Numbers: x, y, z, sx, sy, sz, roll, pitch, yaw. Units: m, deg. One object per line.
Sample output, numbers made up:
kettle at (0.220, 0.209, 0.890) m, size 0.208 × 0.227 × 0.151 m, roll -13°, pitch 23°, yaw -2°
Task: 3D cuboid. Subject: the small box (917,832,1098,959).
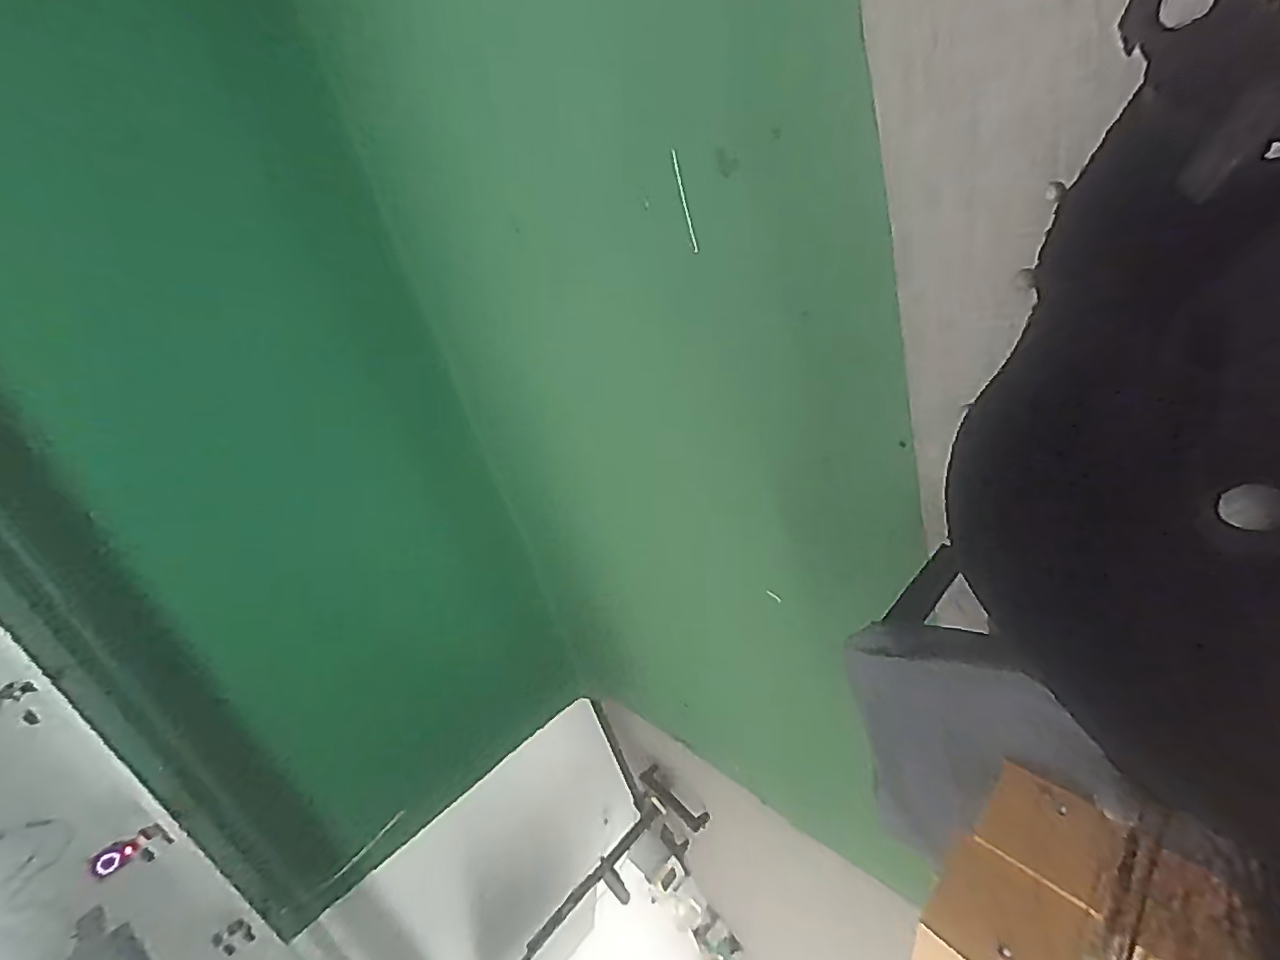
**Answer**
small box at (0.548, 0.687, 0.813) m, size 0.179 × 0.176 × 0.168 m, roll 22°, pitch 132°, yaw 45°
